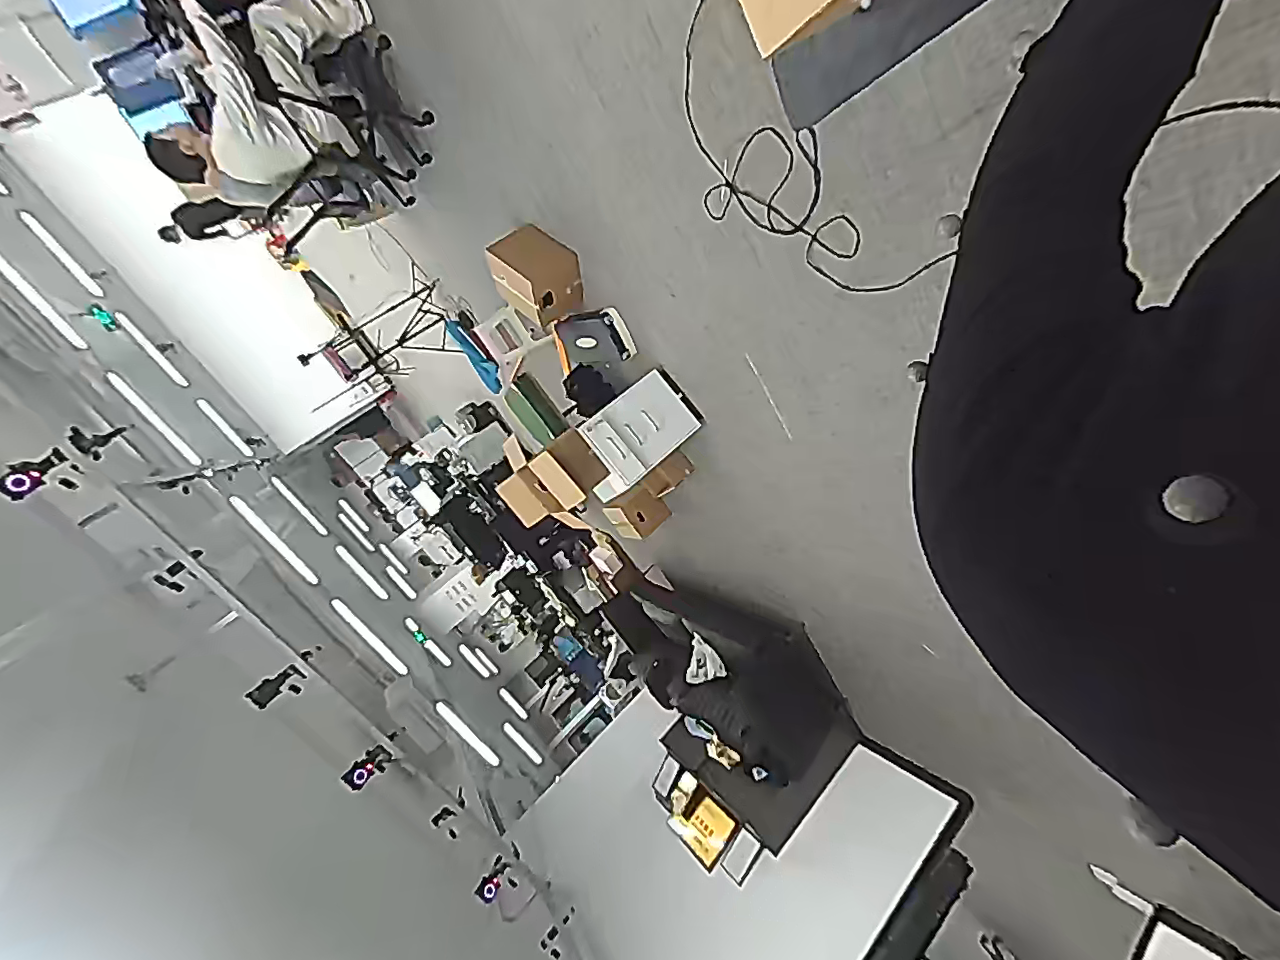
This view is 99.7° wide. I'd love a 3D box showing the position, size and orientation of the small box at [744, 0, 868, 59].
[{"bbox_3d":[0.196,-0.556,0.503,0.168,0.176,0.179,57,159,-21],"label":"small box"}]
